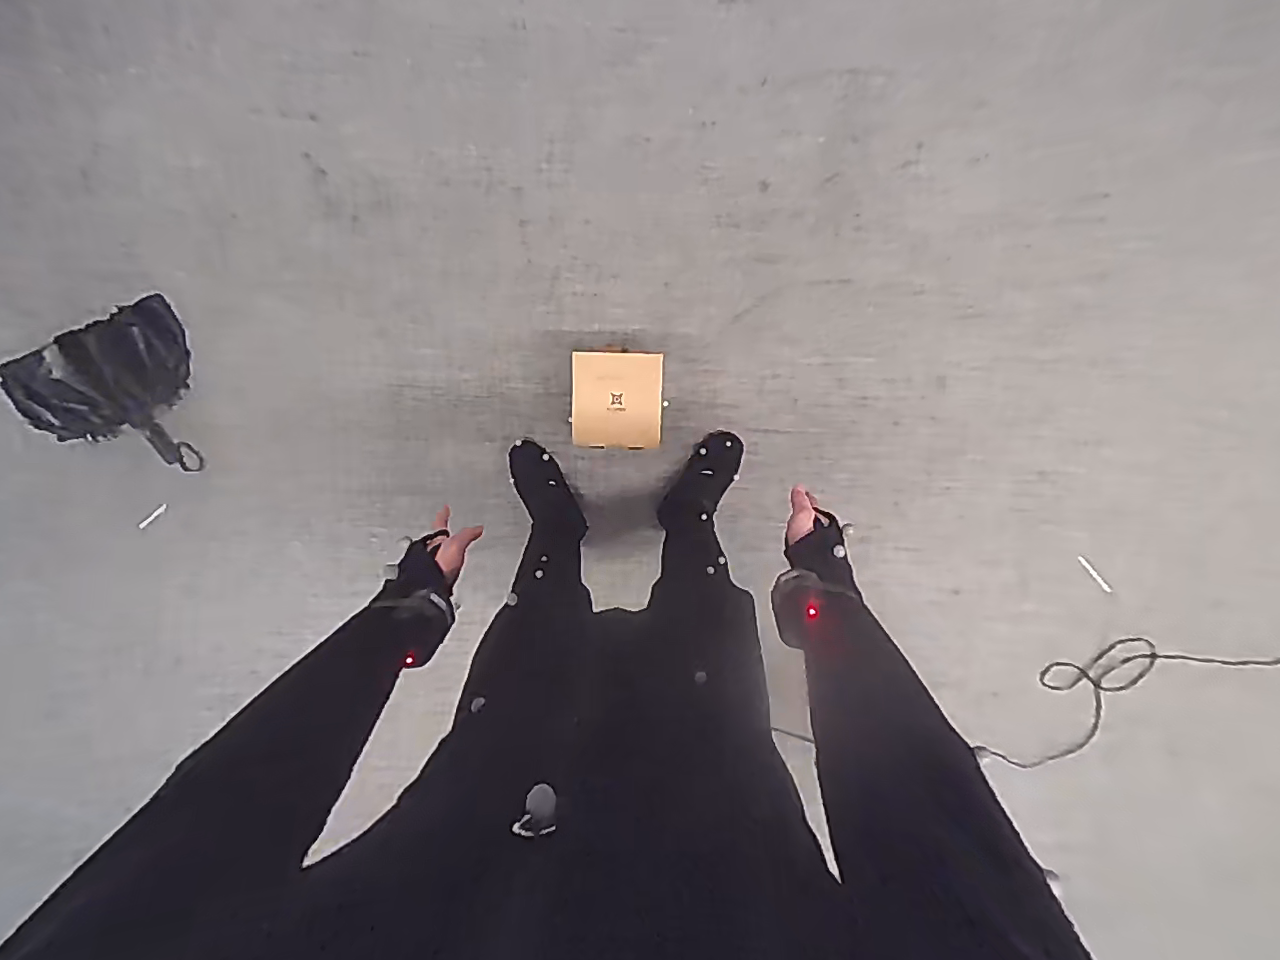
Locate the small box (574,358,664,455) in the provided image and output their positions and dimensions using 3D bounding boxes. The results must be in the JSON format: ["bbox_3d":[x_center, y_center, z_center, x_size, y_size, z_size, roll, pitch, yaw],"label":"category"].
[{"bbox_3d":[-0.038,-0.148,1.067,0.168,0.176,0.179,0,101,0],"label":"small box"}]
